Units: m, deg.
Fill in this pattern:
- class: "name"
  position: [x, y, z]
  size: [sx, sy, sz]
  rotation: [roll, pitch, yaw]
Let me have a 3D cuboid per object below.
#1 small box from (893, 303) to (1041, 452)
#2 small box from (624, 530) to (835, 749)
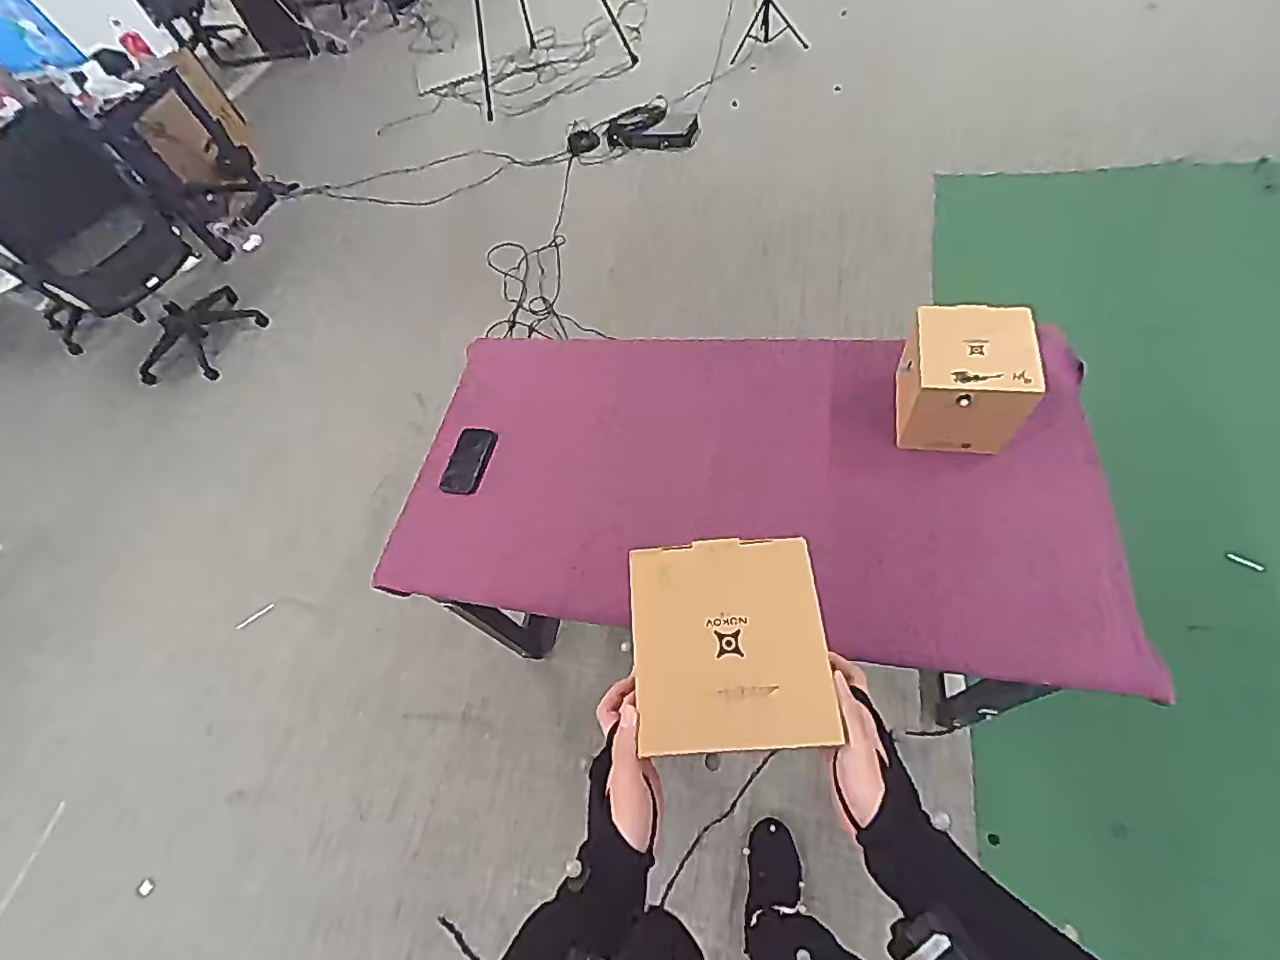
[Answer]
- class: "small box"
  position: [0.523, -0.168, 0.895]
  size: [0.168, 0.176, 0.179]
  rotation: [5, 60, 16]
- class: "small box"
  position: [0.073, 0.163, 0.529]
  size: [0.168, 0.176, 0.179]
  rotation: [-4, 64, 3]
